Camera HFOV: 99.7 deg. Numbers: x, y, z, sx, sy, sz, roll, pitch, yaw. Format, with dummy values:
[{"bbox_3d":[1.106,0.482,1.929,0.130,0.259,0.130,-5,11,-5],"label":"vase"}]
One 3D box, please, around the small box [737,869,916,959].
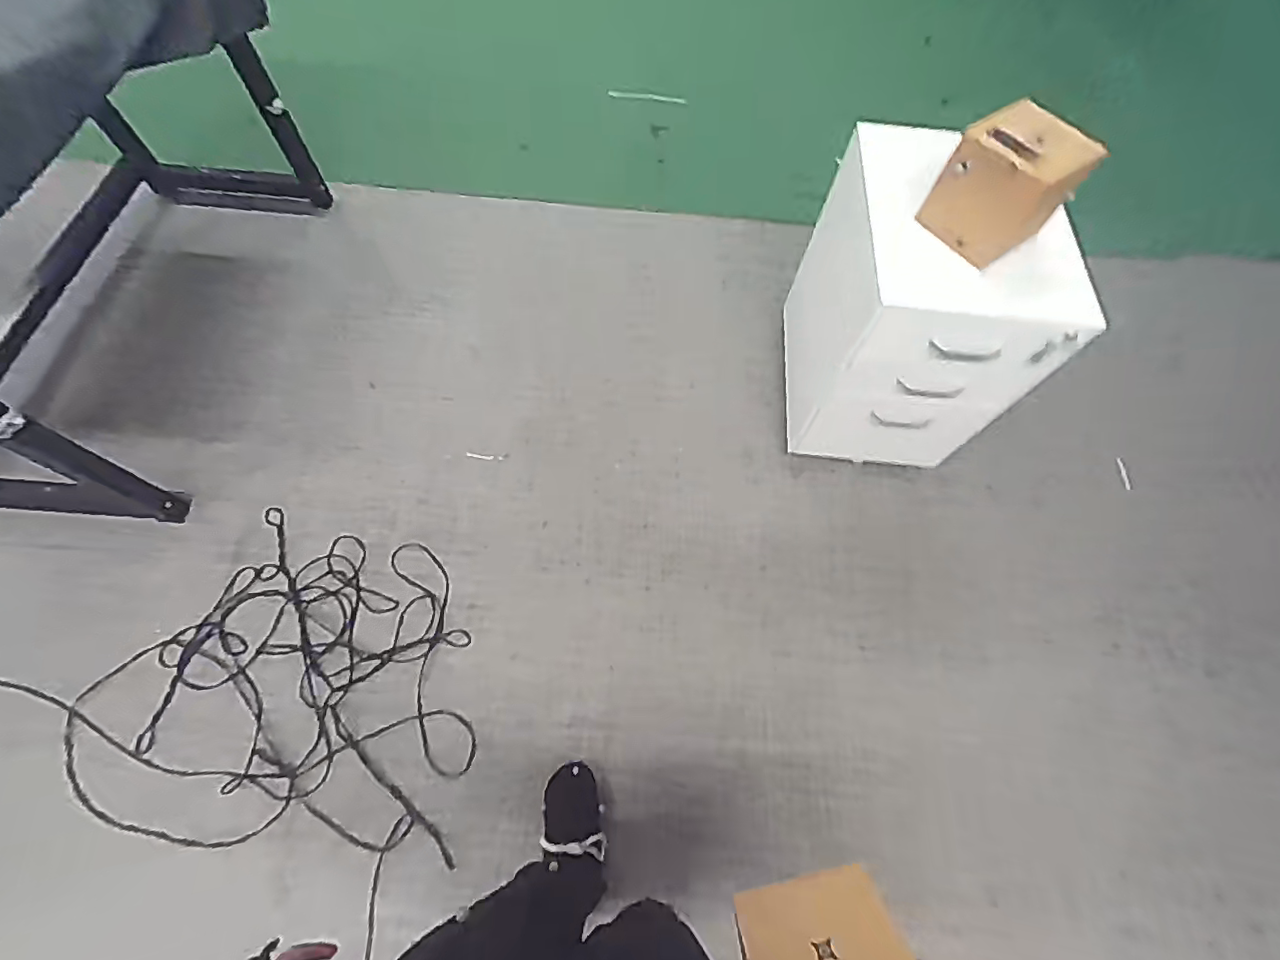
[{"bbox_3d":[0.212,0.576,0.579,0.168,0.179,0.176,-11,102,-2],"label":"small box"}]
